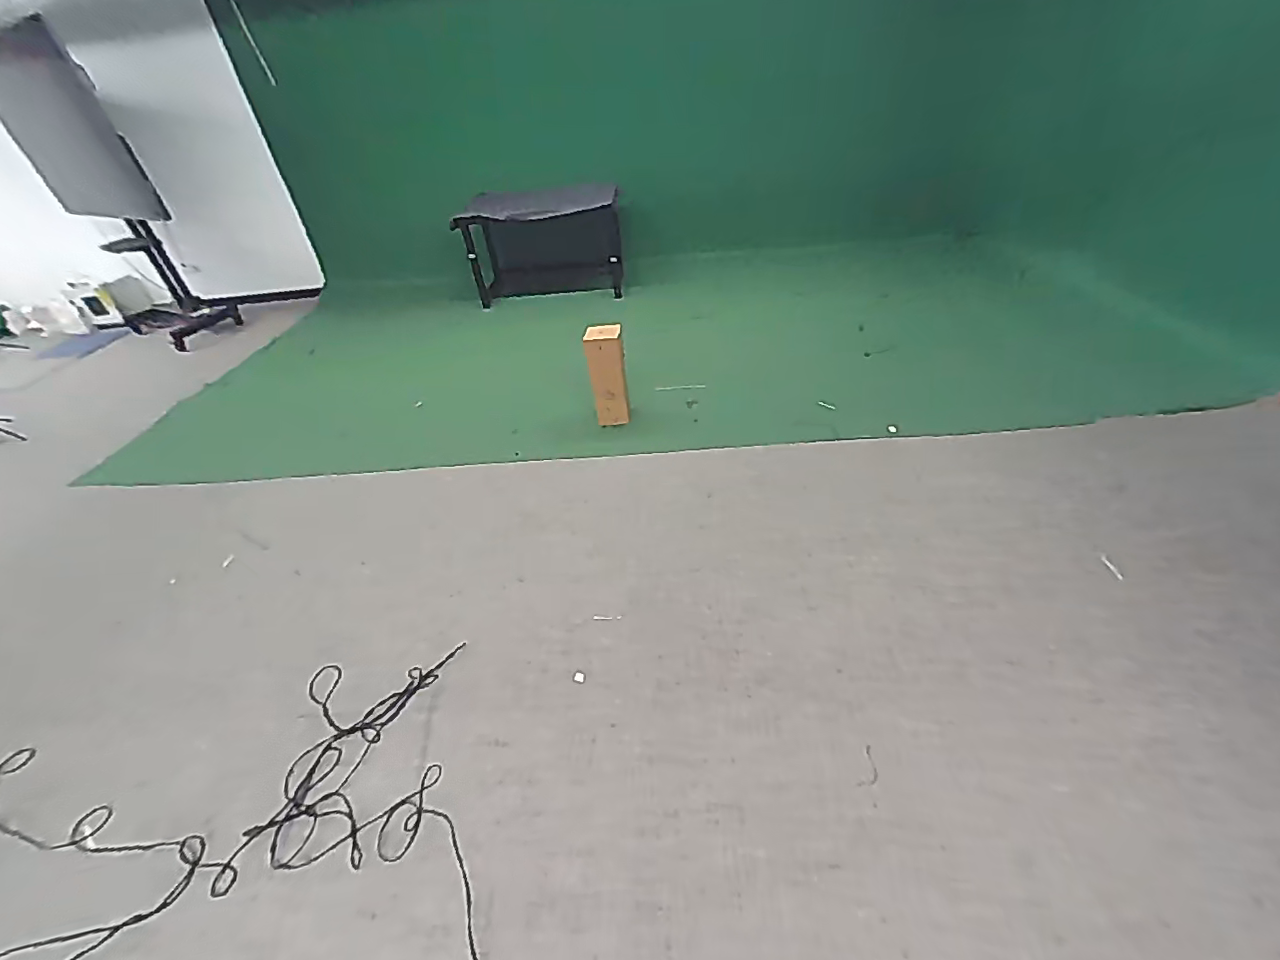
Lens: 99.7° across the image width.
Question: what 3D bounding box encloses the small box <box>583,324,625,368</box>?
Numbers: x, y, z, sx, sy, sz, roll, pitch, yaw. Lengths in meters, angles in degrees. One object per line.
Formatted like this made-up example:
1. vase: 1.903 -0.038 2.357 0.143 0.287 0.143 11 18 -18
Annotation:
1. small box: -0.177 -0.674 2.732 0.179 0.176 0.168 -1 39 8

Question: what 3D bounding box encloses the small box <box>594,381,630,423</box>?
1. small box: -0.146 -0.419 2.937 0.168 0.176 0.179 -3 37 6
